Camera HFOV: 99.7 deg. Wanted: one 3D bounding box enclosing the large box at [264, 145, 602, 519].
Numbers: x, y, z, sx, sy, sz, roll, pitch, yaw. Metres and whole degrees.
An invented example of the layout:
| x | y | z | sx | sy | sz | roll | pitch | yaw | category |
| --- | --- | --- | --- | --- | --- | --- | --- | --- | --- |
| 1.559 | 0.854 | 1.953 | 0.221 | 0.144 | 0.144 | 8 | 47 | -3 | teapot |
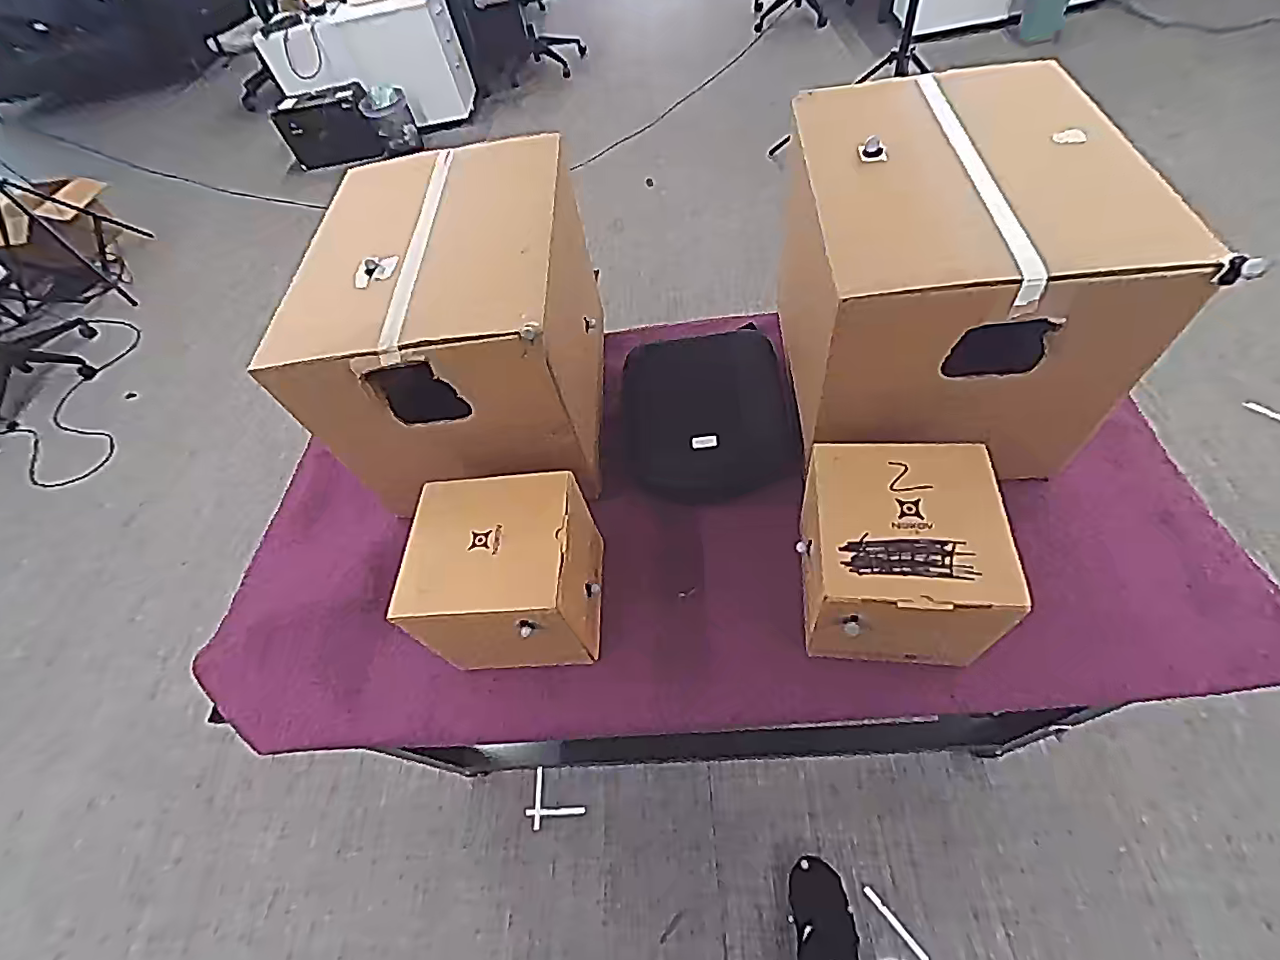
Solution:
| x | y | z | sx | sy | sz | roll | pitch | yaw | category |
| --- | --- | --- | --- | --- | --- | --- | --- | --- | --- |
| -0.234 | -0.201 | 0.776 | 0.320 | 0.320 | 0.408 | -7 | 57 | 6 | large box |
